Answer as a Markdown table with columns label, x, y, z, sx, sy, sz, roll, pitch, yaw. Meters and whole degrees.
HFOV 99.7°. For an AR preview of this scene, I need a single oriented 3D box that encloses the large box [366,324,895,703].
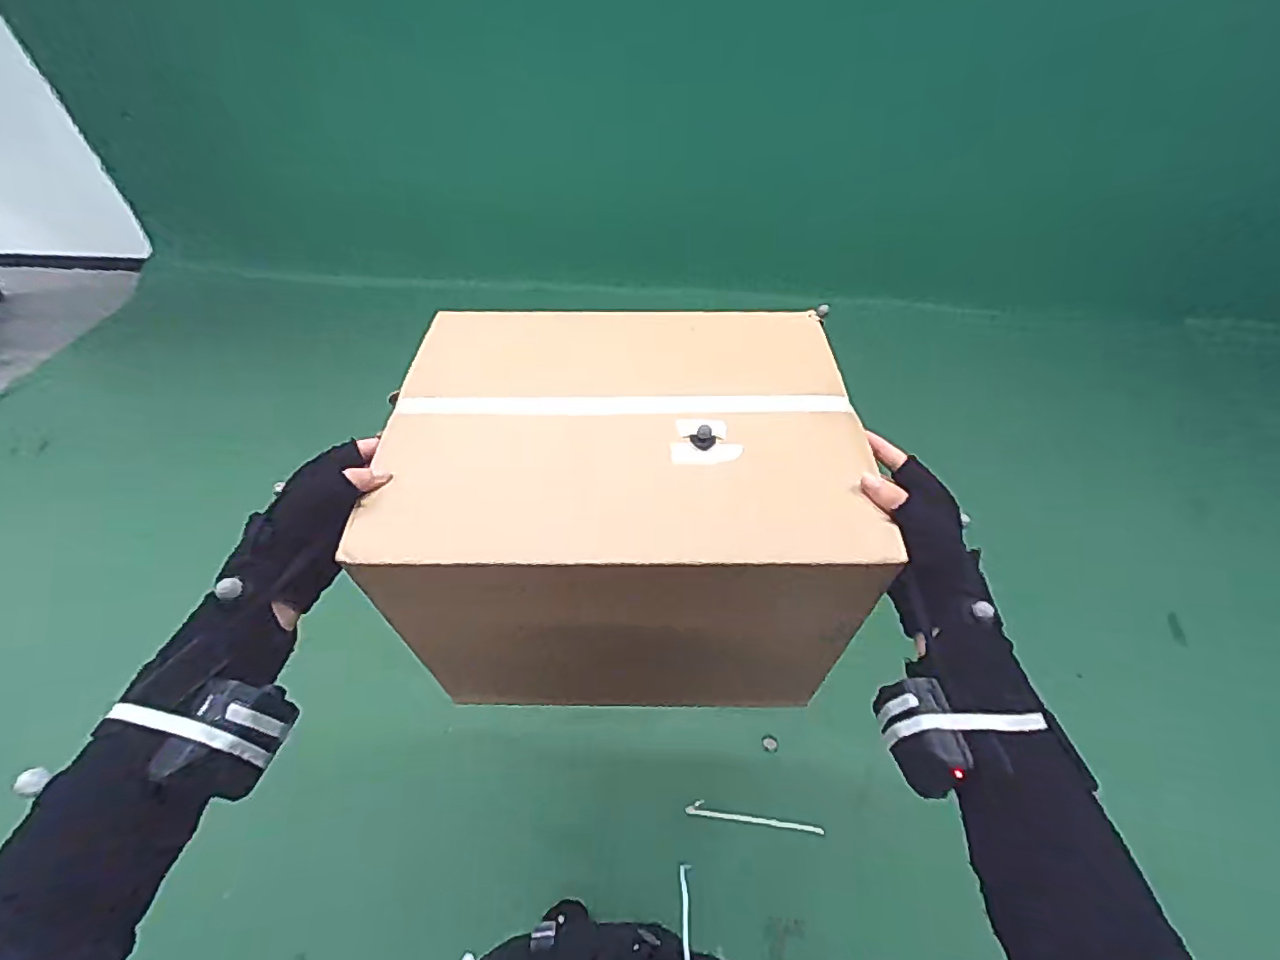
| label | x | y | z | sx | sy | sz | roll | pitch | yaw |
| --- | --- | --- | --- | --- | --- | --- | --- | --- | --- |
| large box | -0.011 | 0.042 | 0.607 | 0.408 | 0.320 | 0.320 | 1 | 50 | -1 |
